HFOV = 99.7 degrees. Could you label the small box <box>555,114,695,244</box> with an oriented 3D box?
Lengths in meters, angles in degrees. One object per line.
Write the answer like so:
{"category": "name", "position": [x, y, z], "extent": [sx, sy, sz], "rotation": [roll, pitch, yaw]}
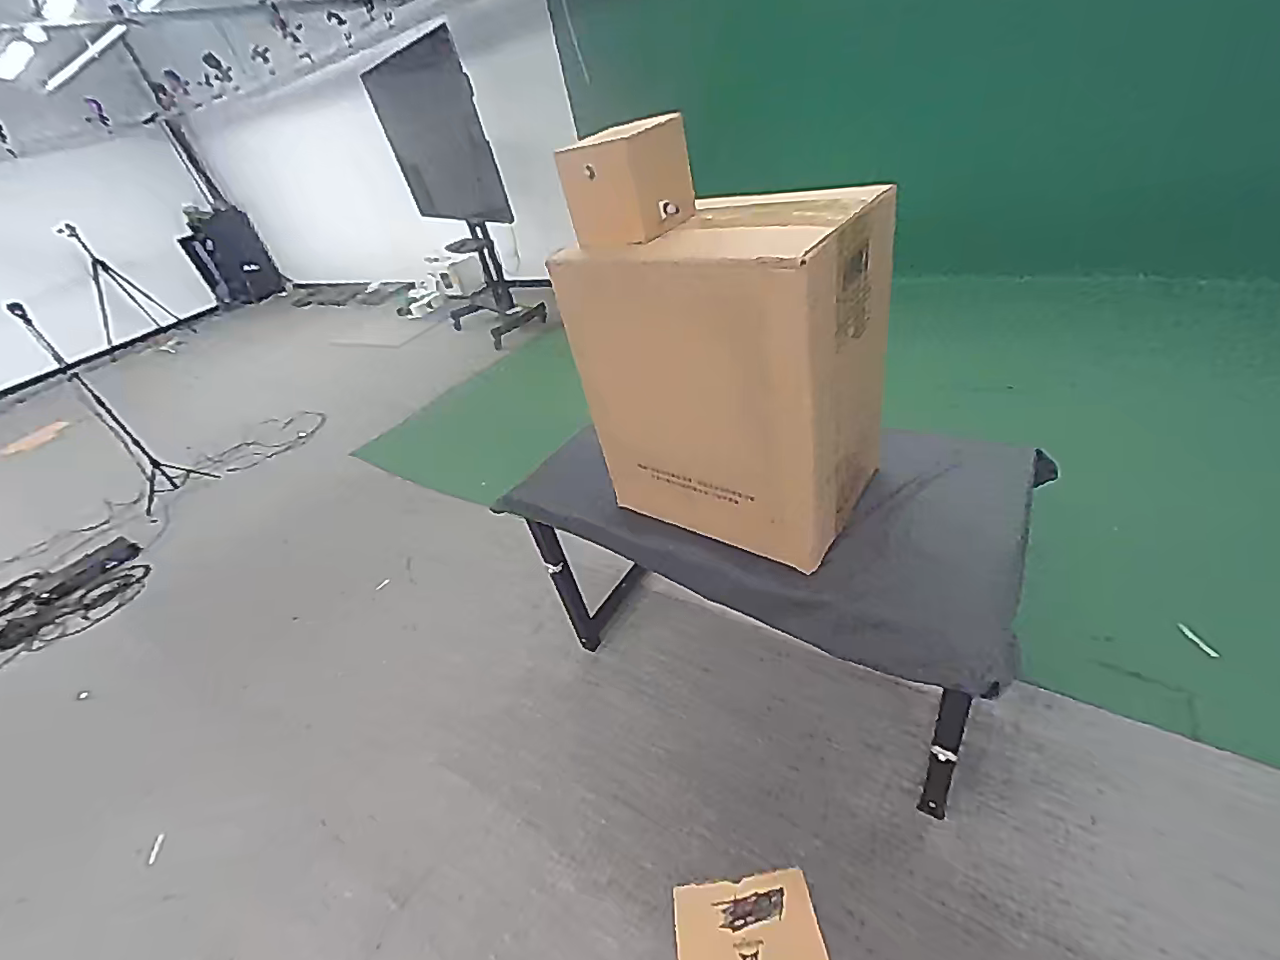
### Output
{"category": "small box", "position": [-0.021, -0.547, 0.996], "extent": [0.179, 0.176, 0.168], "rotation": [18, 50, 35]}

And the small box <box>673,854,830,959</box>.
{"category": "small box", "position": [0.137, 0.591, 0.633], "extent": [0.168, 0.176, 0.179], "rotation": [-12, 18, 2]}
